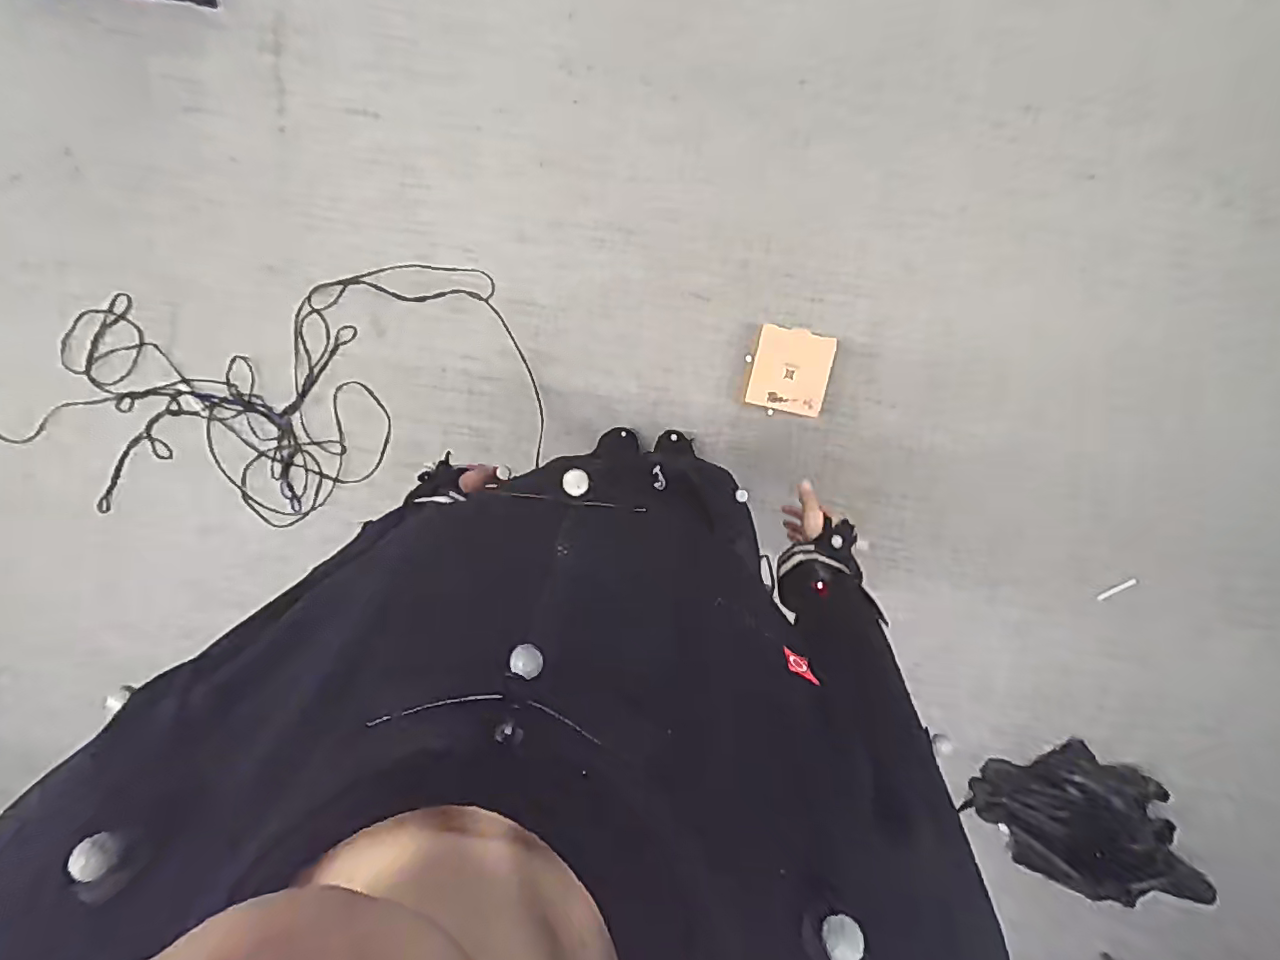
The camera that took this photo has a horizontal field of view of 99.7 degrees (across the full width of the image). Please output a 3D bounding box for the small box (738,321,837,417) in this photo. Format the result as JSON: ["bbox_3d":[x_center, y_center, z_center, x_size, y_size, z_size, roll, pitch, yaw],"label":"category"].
[{"bbox_3d":[0.329,-0.247,1.246,0.168,0.176,0.179,13,96,2],"label":"small box"}]
